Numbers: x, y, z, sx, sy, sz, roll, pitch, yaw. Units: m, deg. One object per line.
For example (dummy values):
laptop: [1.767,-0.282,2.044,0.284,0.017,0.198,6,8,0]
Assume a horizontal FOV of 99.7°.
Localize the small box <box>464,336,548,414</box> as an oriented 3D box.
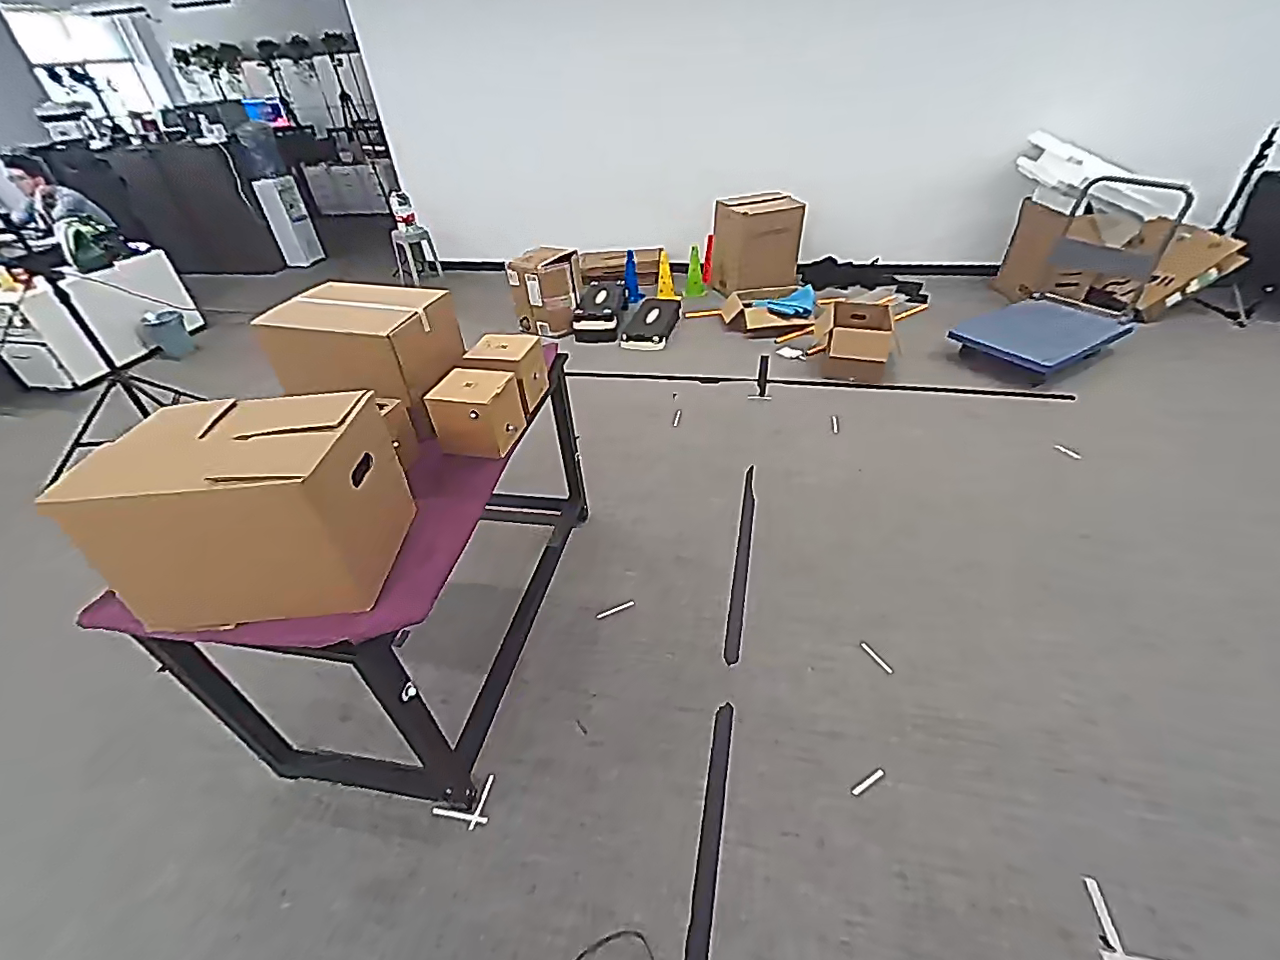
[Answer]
small box: [-0.383,-0.307,1.587,0.179,0.176,0.168,5,38,12]
